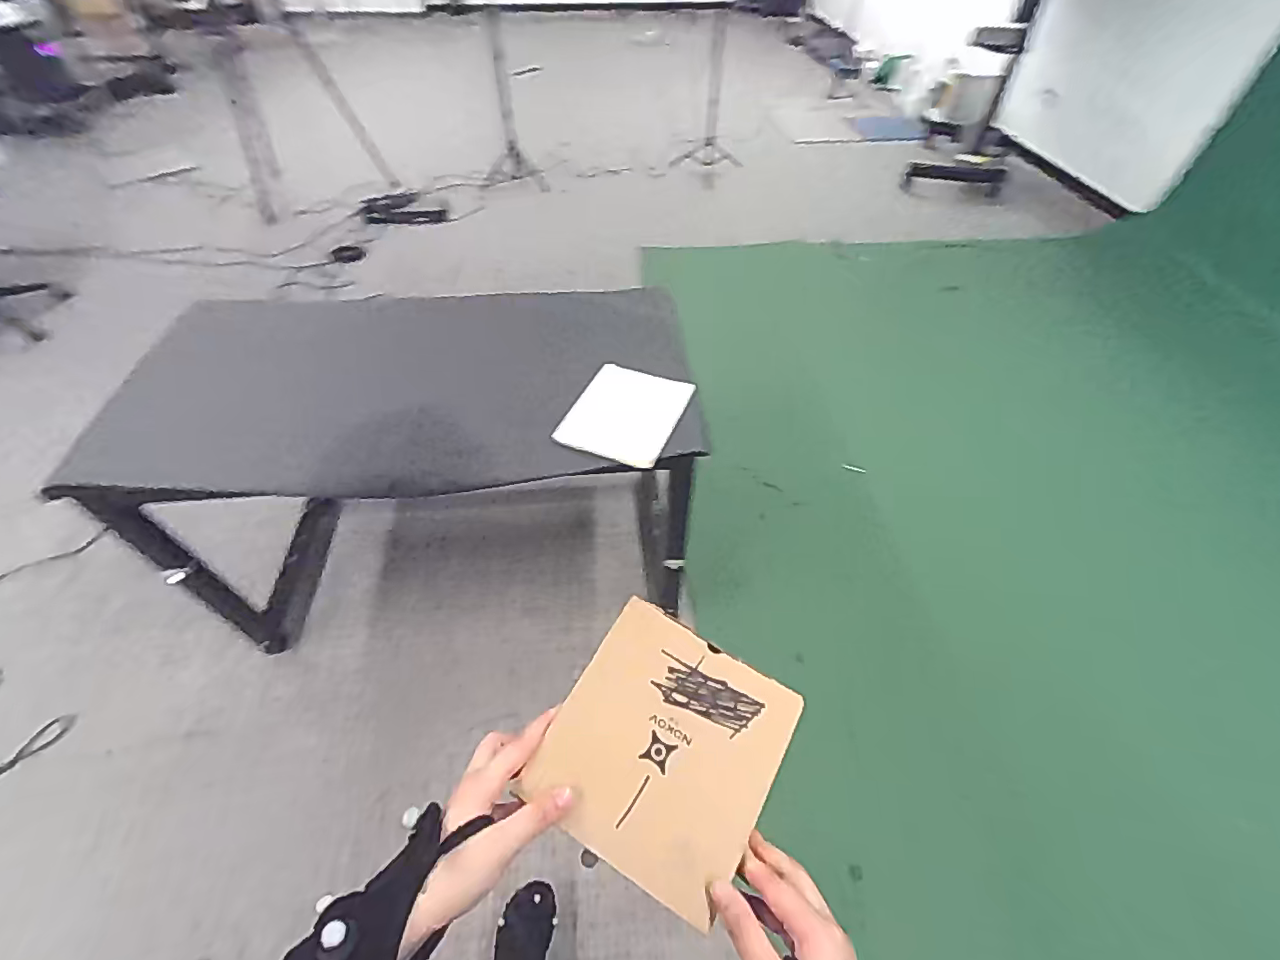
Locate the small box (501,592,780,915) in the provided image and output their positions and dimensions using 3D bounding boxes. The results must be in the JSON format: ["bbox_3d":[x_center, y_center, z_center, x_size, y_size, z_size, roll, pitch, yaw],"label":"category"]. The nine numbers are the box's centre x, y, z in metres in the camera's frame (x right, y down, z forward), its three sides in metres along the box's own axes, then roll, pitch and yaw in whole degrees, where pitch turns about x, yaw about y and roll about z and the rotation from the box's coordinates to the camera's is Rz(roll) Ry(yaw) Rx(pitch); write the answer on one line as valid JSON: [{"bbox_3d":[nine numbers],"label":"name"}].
[{"bbox_3d":[0.000,0.238,0.491,0.168,0.176,0.179,27,61,12],"label":"small box"}]
